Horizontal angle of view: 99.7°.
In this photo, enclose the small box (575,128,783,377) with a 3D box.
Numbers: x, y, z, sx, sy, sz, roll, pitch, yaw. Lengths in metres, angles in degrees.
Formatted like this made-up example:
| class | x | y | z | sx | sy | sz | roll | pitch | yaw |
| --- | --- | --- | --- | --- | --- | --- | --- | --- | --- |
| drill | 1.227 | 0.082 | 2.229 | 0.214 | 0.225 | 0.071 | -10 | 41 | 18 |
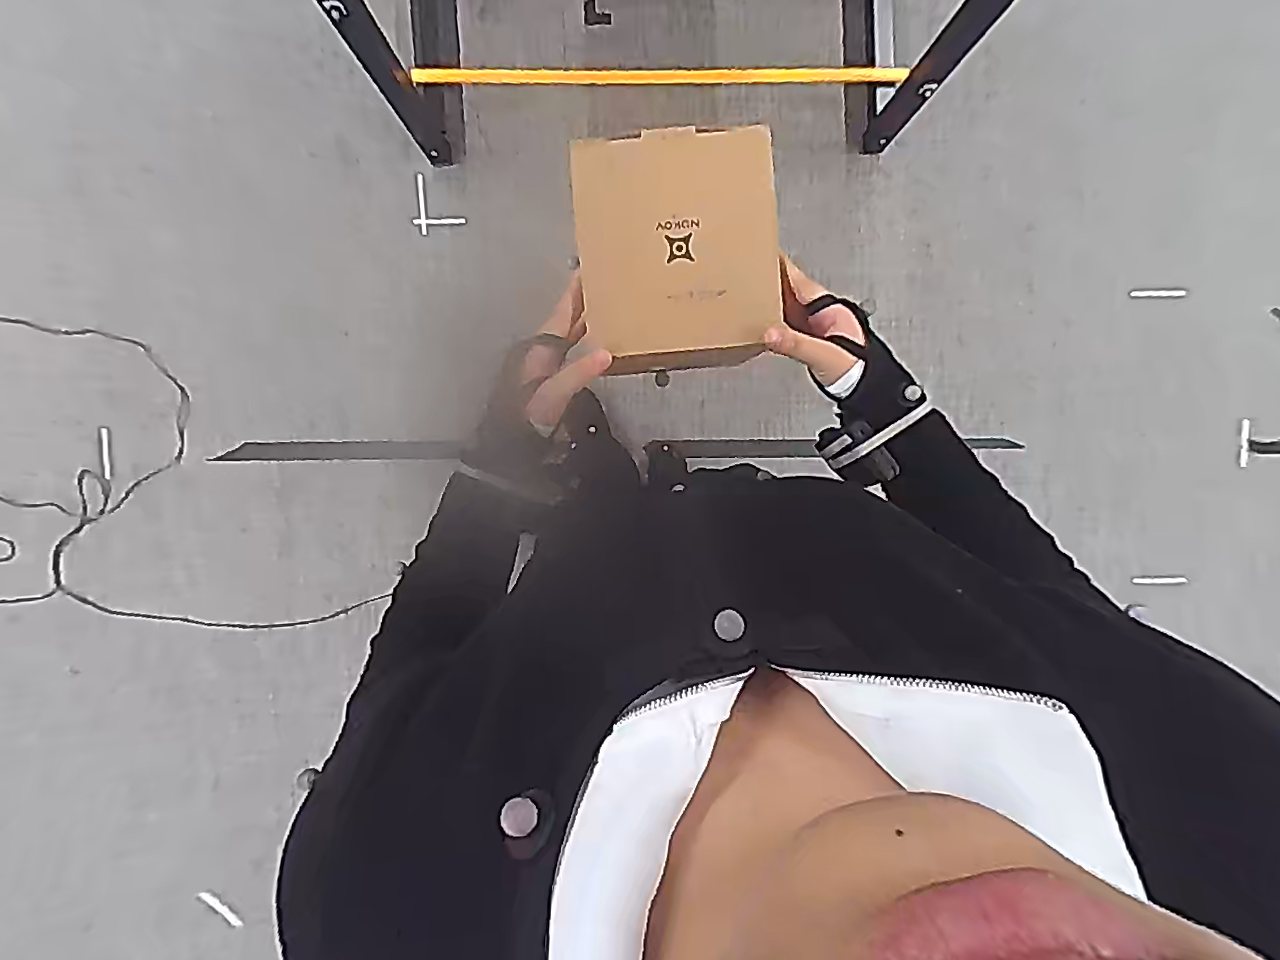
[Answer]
| class | x | y | z | sx | sy | sz | roll | pitch | yaw |
| --- | --- | --- | --- | --- | --- | --- | --- | --- | --- |
| small box | 0.029 | -0.202 | 0.525 | 0.168 | 0.176 | 0.179 | -5 | 95 | -2 |
